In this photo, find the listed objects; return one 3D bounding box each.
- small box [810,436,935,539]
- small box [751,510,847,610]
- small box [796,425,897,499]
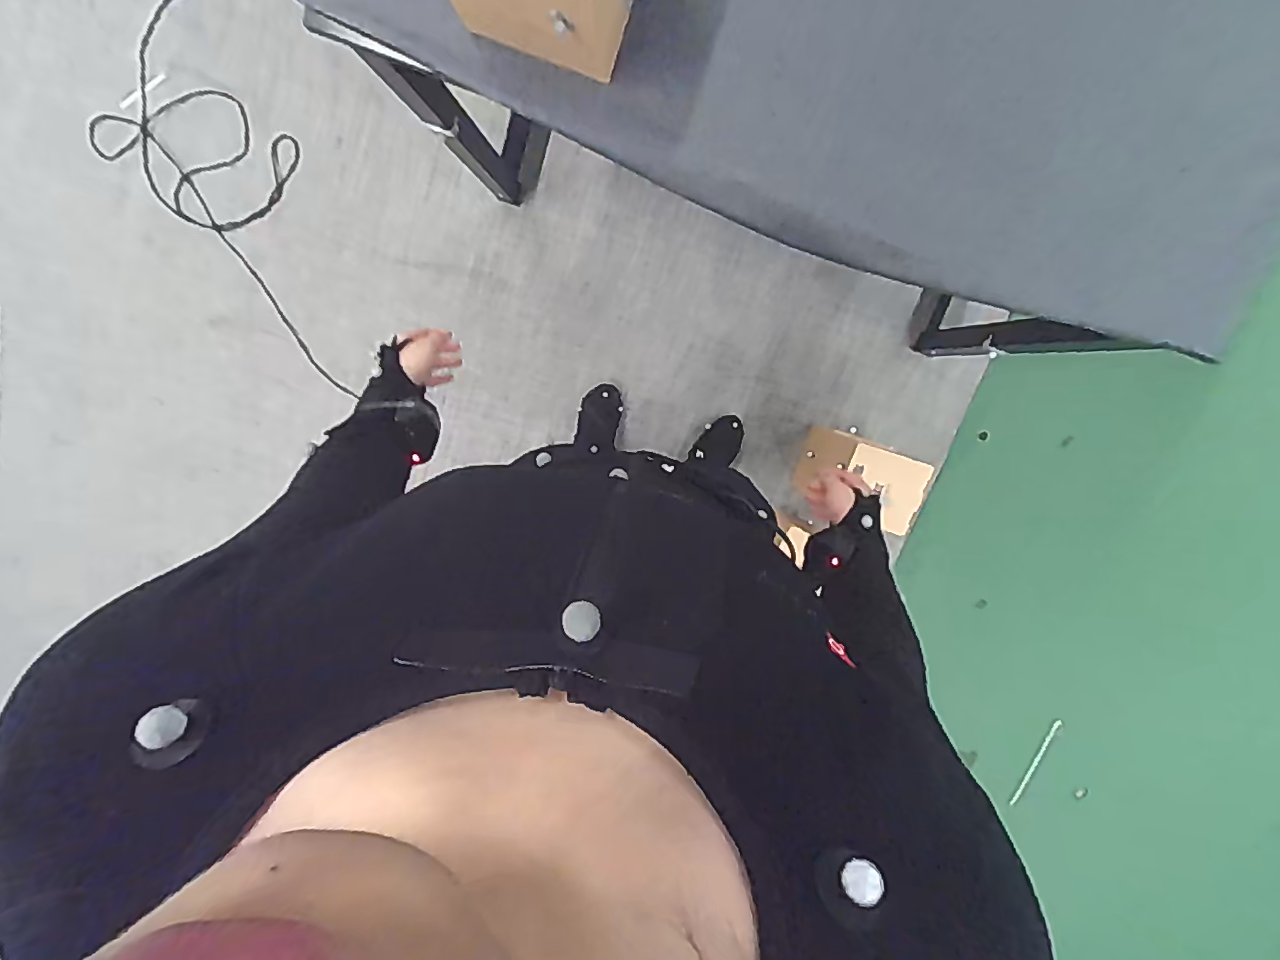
[{"bbox_3d":[0.512,0.009,1.218,0.179,0.176,0.168,19,103,-3],"label":"small box"},{"bbox_3d":[0.410,0.206,1.433,0.168,0.176,0.179,27,102,-4],"label":"small box"},{"bbox_3d":[0.515,-0.030,1.379,0.168,0.176,0.179,17,101,-2],"label":"small box"}]
